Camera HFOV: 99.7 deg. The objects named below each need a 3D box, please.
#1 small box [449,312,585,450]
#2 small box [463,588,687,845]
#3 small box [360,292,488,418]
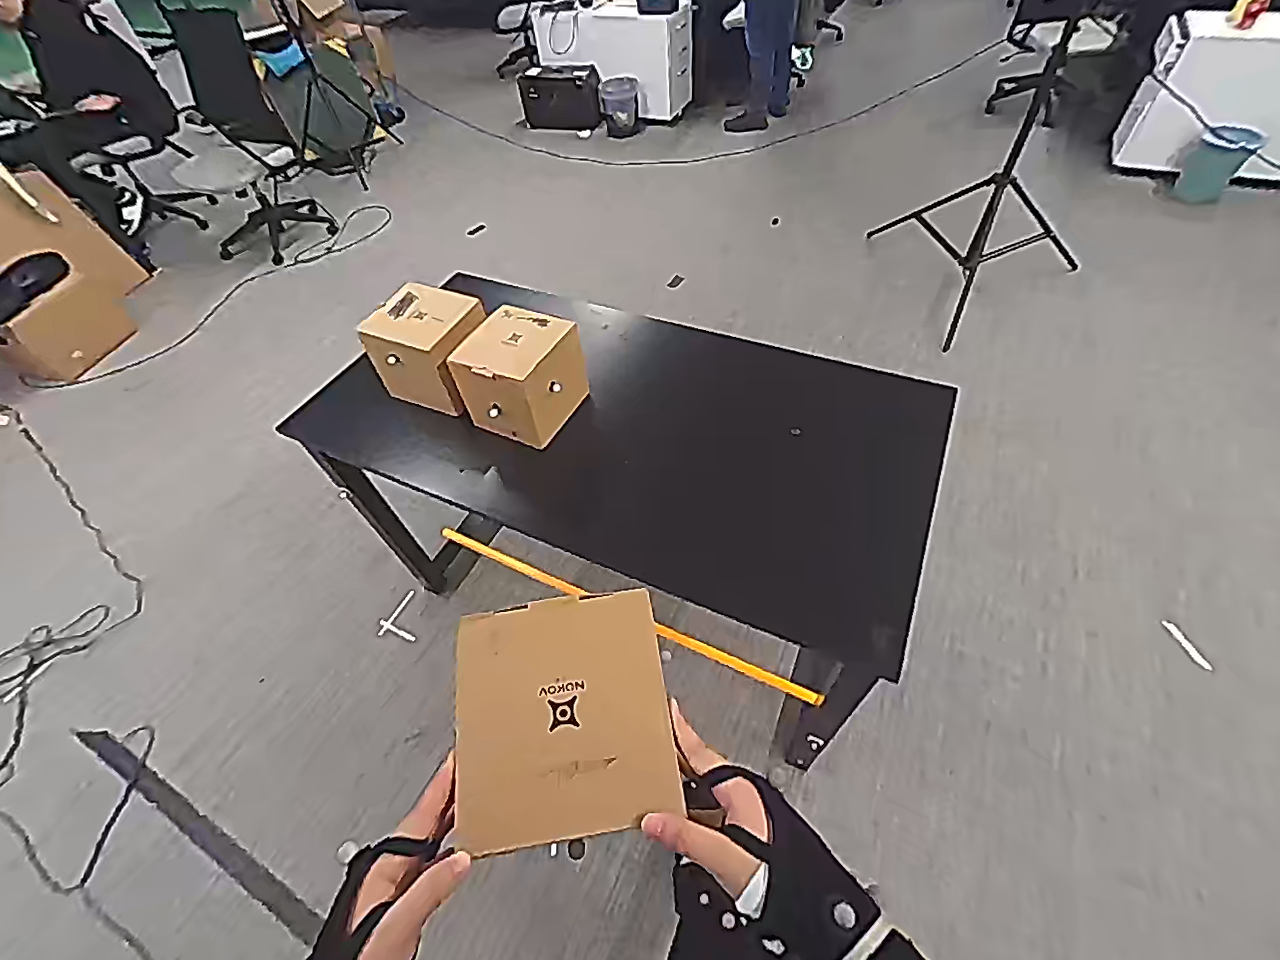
[{"bbox_3d":[-0.219,-0.183,1.023,0.168,0.176,0.179,19,56,19],"label":"small box"},{"bbox_3d":[-0.058,0.220,0.502,0.168,0.176,0.179,-8,59,-4],"label":"small box"},{"bbox_3d":[-0.412,-0.250,1.092,0.179,0.176,0.168,18,56,17],"label":"small box"}]
